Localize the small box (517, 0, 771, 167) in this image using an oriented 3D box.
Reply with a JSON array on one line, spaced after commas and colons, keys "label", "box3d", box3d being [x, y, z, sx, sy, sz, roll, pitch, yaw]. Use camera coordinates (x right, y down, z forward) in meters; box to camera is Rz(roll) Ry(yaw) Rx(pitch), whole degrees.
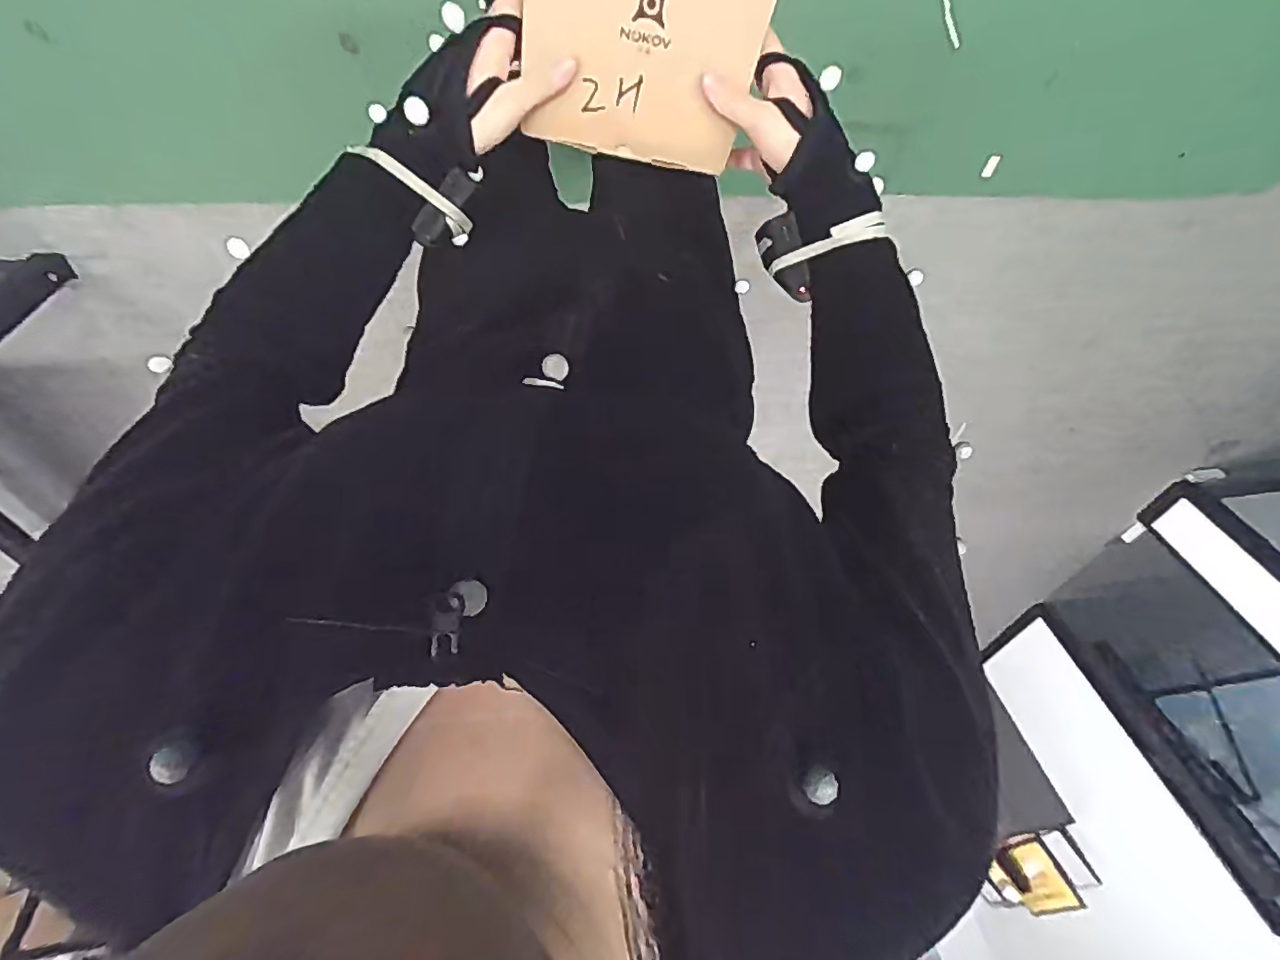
[{"label": "small box", "box3d": [0.000, -0.378, 0.407, 0.168, 0.176, 0.179, 6, 144, -10]}]
